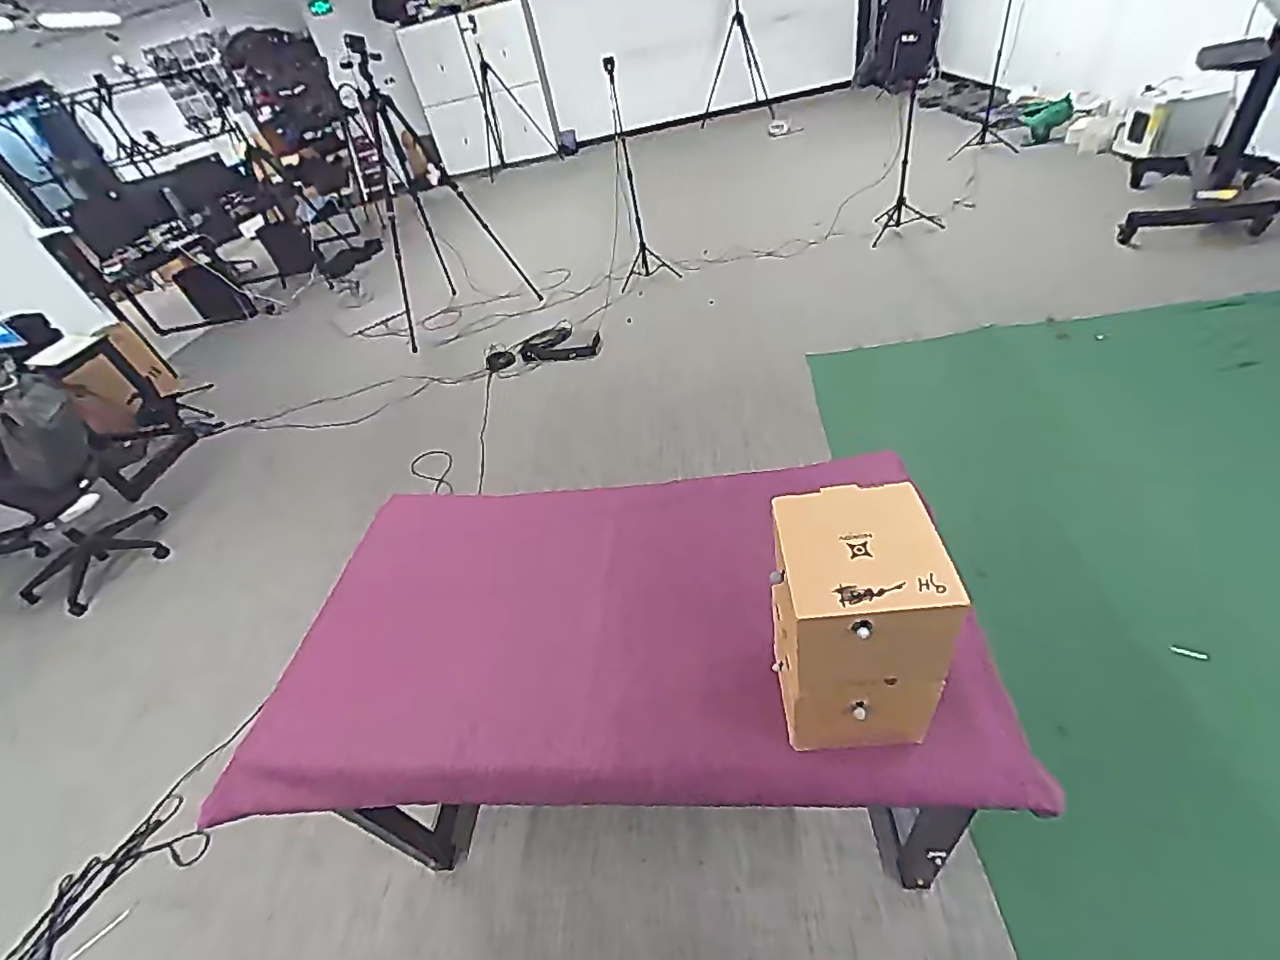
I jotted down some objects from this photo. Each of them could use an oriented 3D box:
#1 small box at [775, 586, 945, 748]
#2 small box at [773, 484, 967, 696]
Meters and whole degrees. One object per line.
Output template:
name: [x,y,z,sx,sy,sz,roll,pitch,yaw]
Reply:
small box: [0.290,0.253,0.749,0.179,0.176,0.168,-9,42,10]
small box: [0.256,0.132,0.644,0.168,0.176,0.179,-9,41,11]
